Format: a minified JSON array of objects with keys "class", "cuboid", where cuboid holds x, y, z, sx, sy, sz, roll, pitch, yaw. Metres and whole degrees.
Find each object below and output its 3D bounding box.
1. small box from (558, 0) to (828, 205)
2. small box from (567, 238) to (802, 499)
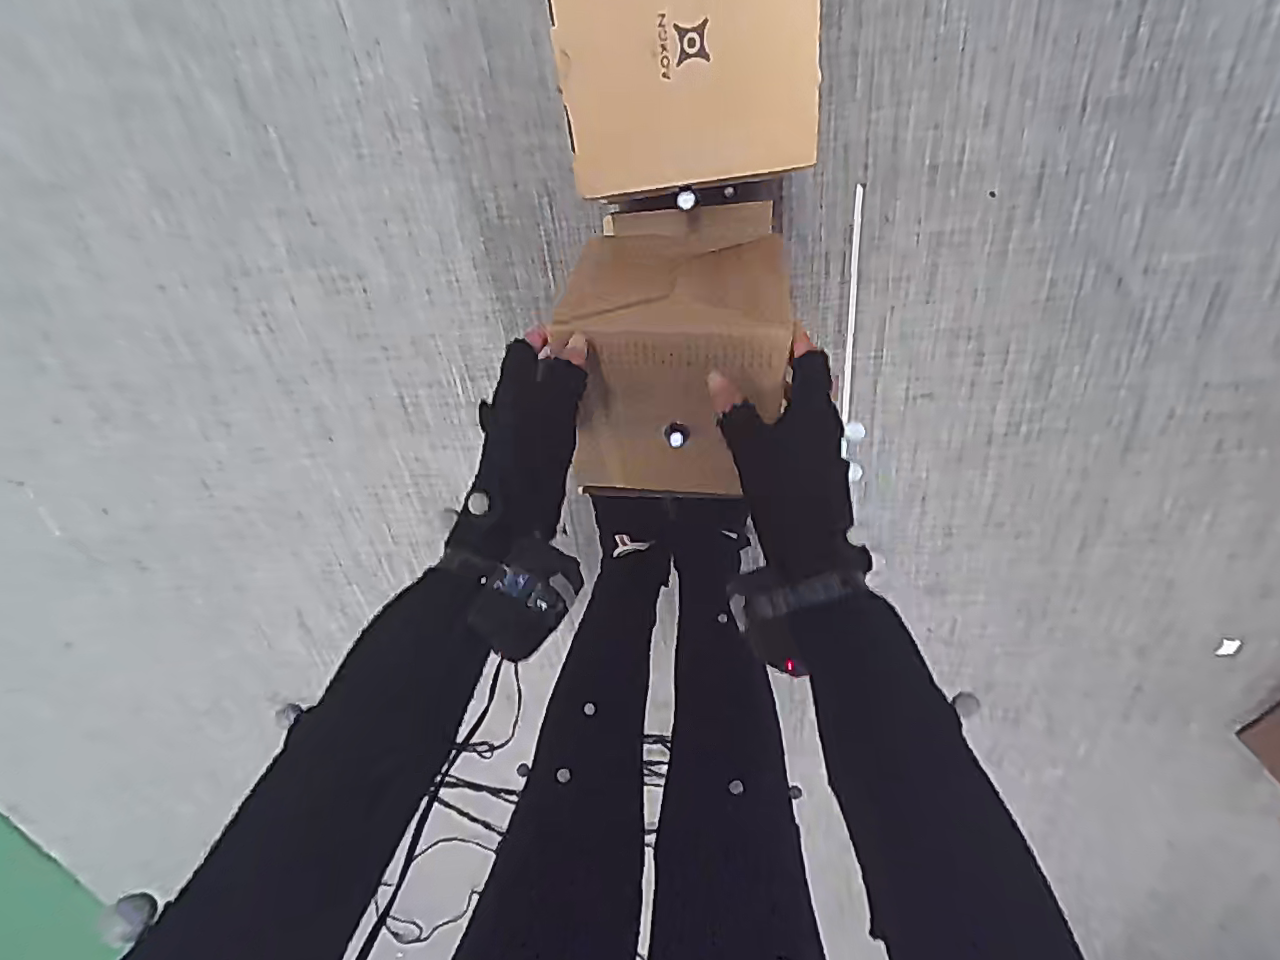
[{"class":"small box","cuboid":[0.044,-0.325,0.432,0.179,0.176,0.168,-3,117,10]},{"class":"small box","cuboid":[0.039,-0.103,0.485,0.179,0.168,0.176,3,137,9]}]
